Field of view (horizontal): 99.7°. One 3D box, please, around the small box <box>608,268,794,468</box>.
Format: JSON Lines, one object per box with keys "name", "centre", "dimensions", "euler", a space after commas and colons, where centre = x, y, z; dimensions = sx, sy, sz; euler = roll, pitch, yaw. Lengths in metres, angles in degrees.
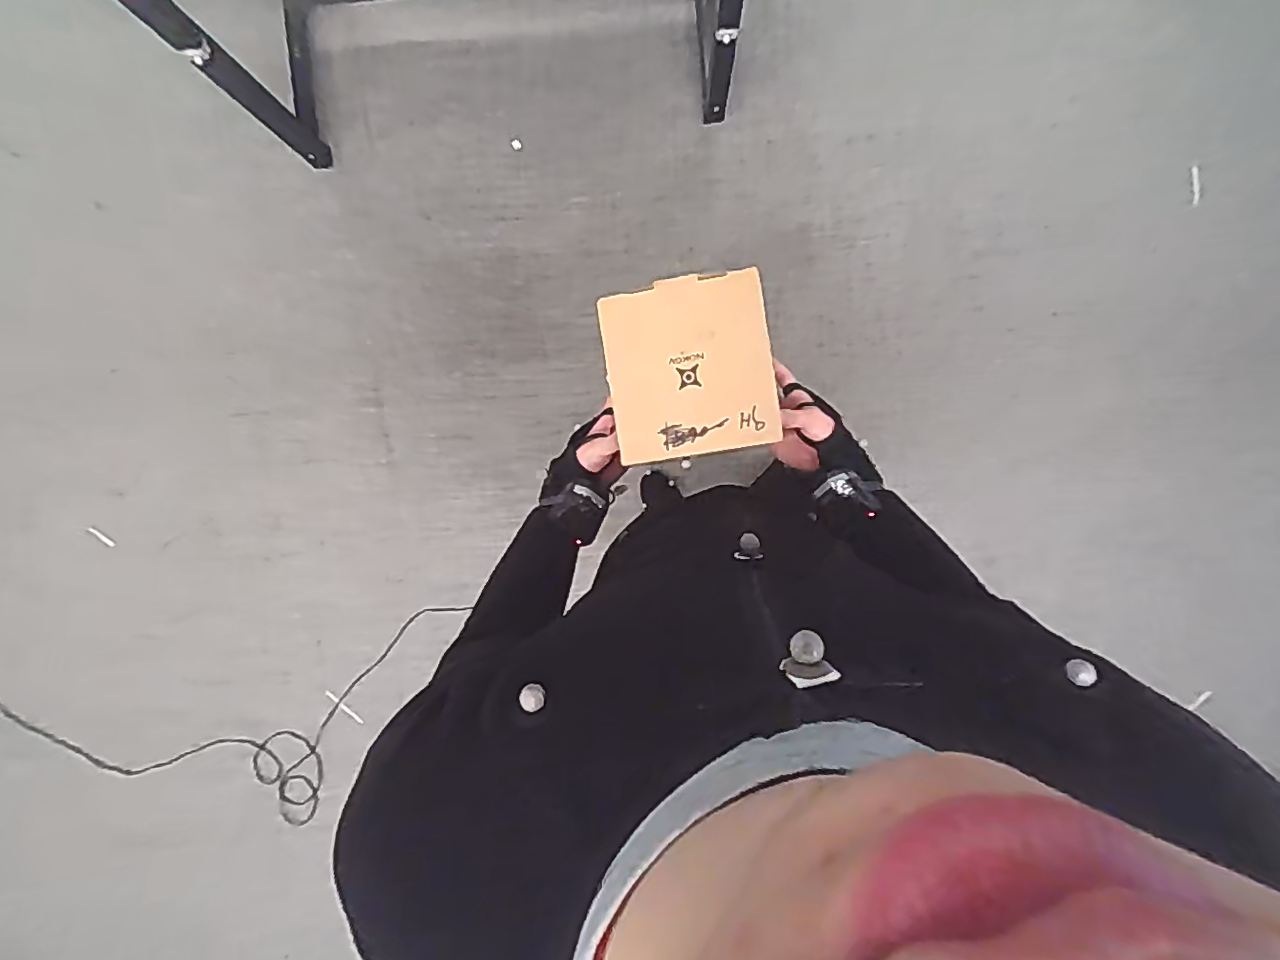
{"name": "small box", "centre": [0.069, -0.112, 0.618], "dimensions": [0.168, 0.176, 0.179], "euler": [-10, 90, 8]}
